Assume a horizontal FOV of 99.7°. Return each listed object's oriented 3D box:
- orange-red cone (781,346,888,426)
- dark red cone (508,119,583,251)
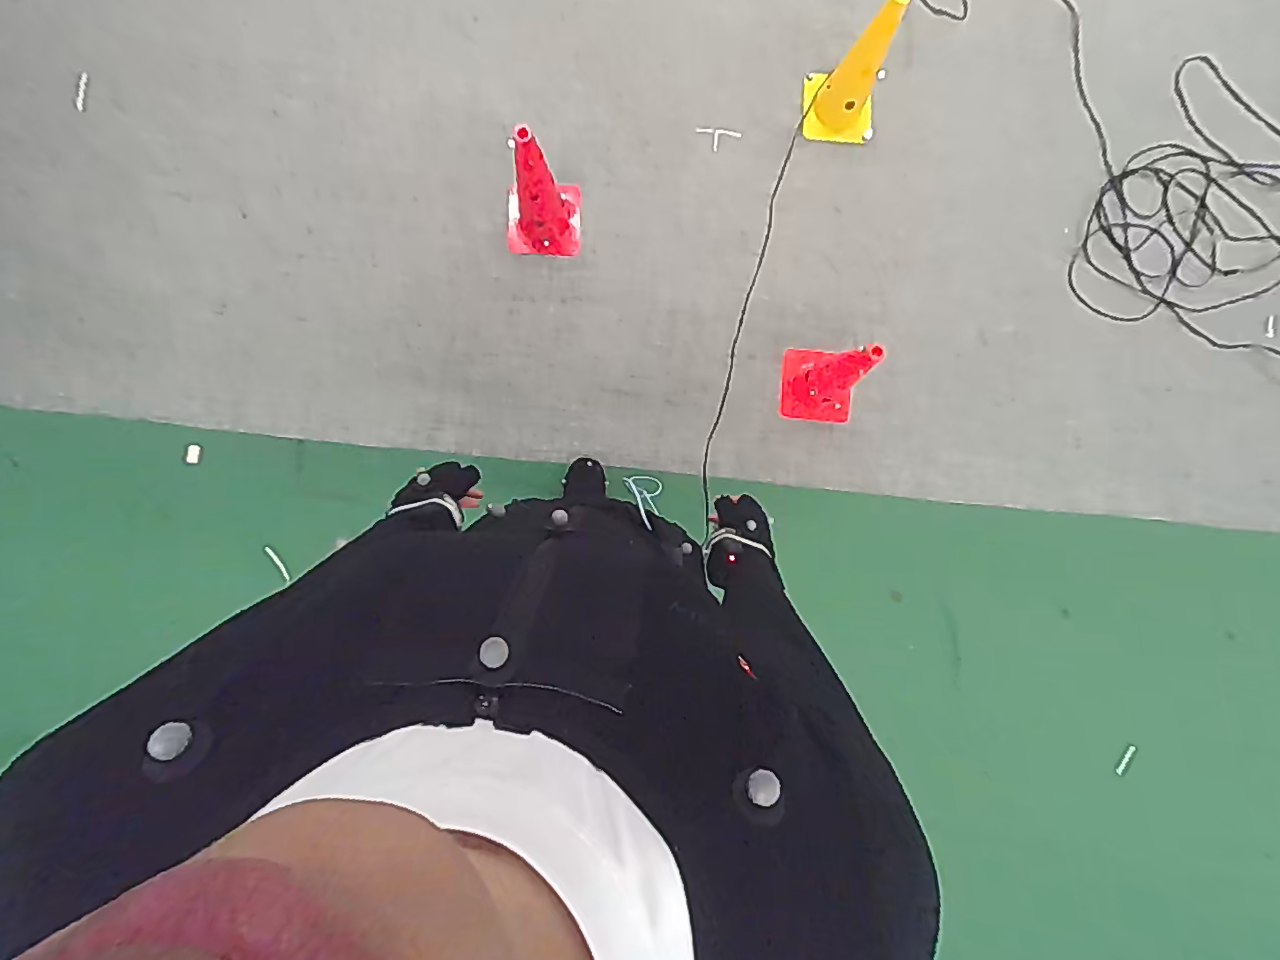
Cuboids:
[{"bbox_3d":[0.511,-0.269,1.355,0.198,0.360,0.199,6,86,-3],"label":"orange-red cone"},{"bbox_3d":[-0.251,-0.732,1.319,0.202,0.394,0.201,0,89,-3],"label":"dark red cone"}]
